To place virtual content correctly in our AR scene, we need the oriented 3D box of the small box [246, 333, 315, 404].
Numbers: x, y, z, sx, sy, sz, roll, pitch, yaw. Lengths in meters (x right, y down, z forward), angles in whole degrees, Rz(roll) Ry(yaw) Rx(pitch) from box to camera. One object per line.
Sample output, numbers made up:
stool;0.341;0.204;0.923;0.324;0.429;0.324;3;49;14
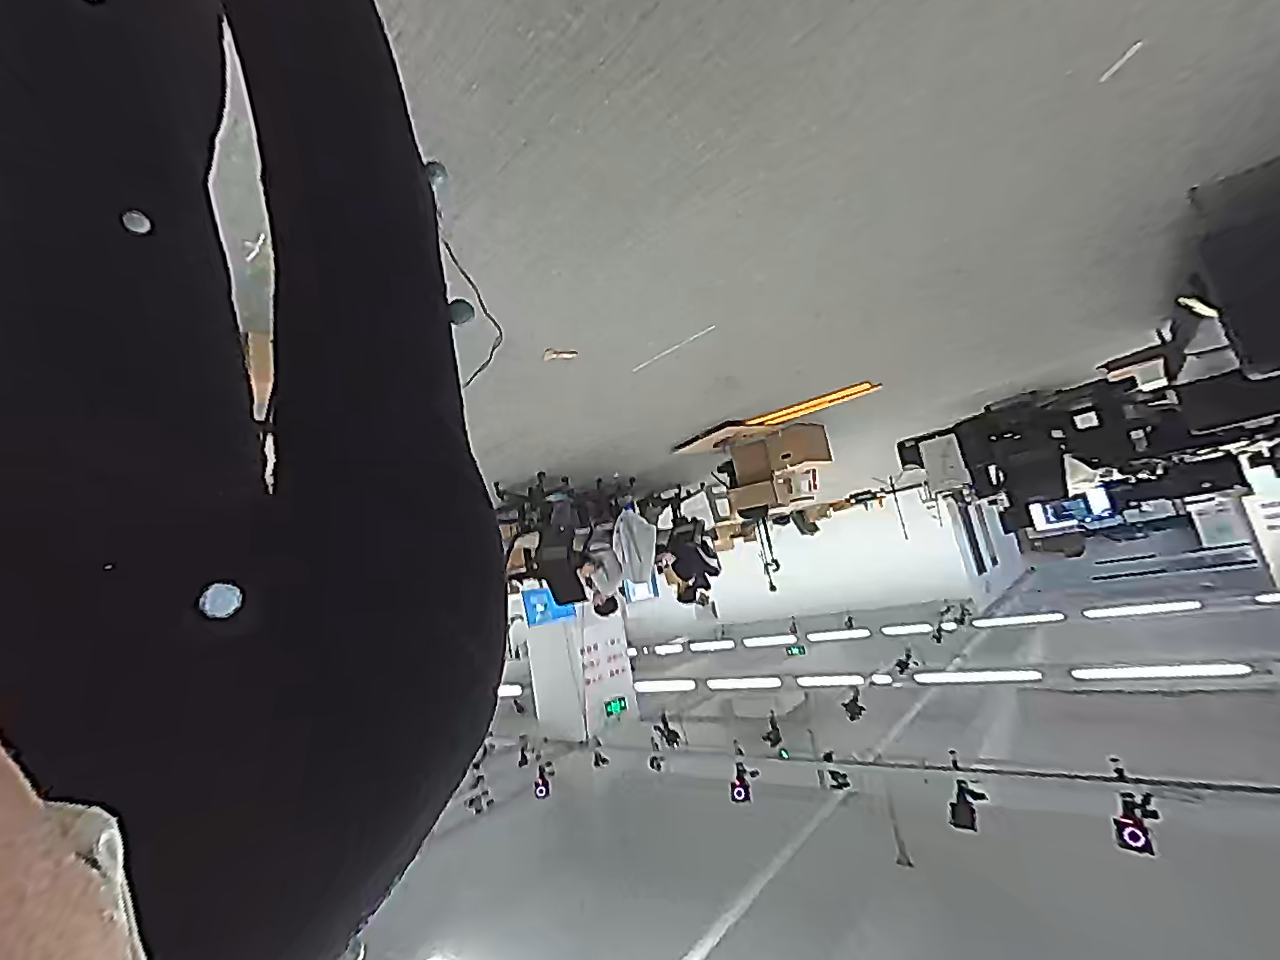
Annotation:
small box;-1.187;-0.364;1.778;0.168;0.176;0.179;-2;167;-41
